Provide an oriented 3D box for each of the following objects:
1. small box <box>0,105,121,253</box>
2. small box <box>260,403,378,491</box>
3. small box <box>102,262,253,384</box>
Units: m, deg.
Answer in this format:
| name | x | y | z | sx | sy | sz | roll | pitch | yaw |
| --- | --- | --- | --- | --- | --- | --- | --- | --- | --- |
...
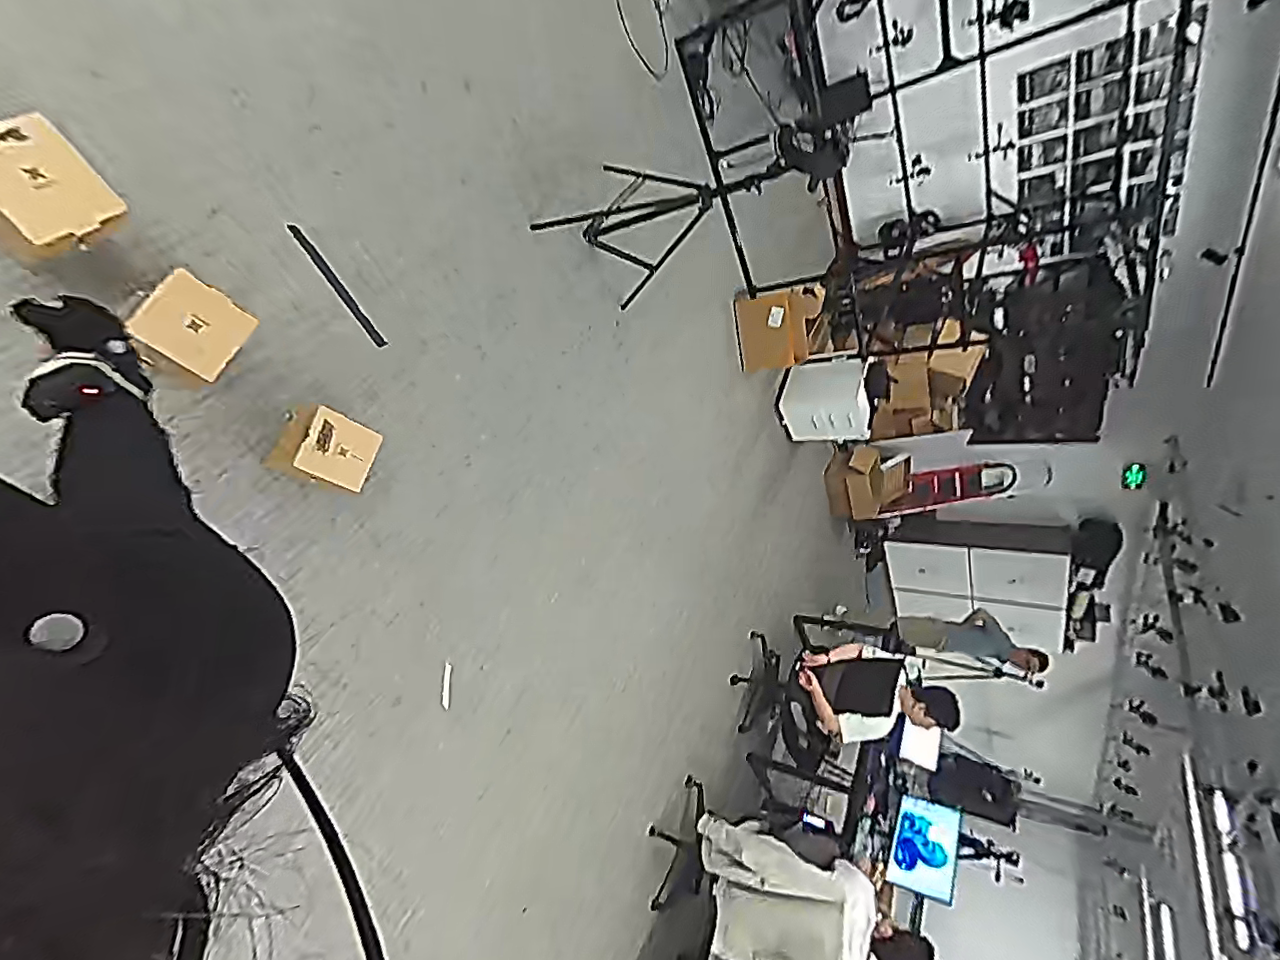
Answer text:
| name | x | y | z | sx | sy | sz | roll | pitch | yaw |
| --- | --- | --- | --- | --- | --- | --- | --- | --- | --- |
| small box | -1.106 | -0.527 | 0.968 | 0.168 | 0.176 | 0.179 | -56 | 133 | -37 |
| small box | -0.819 | -0.079 | 1.376 | 0.179 | 0.176 | 0.168 | 38 | 61 | -49 |
| small box | -0.982 | -0.325 | 1.146 | 0.168 | 0.176 | 0.179 | 45 | 57 | -44 |
